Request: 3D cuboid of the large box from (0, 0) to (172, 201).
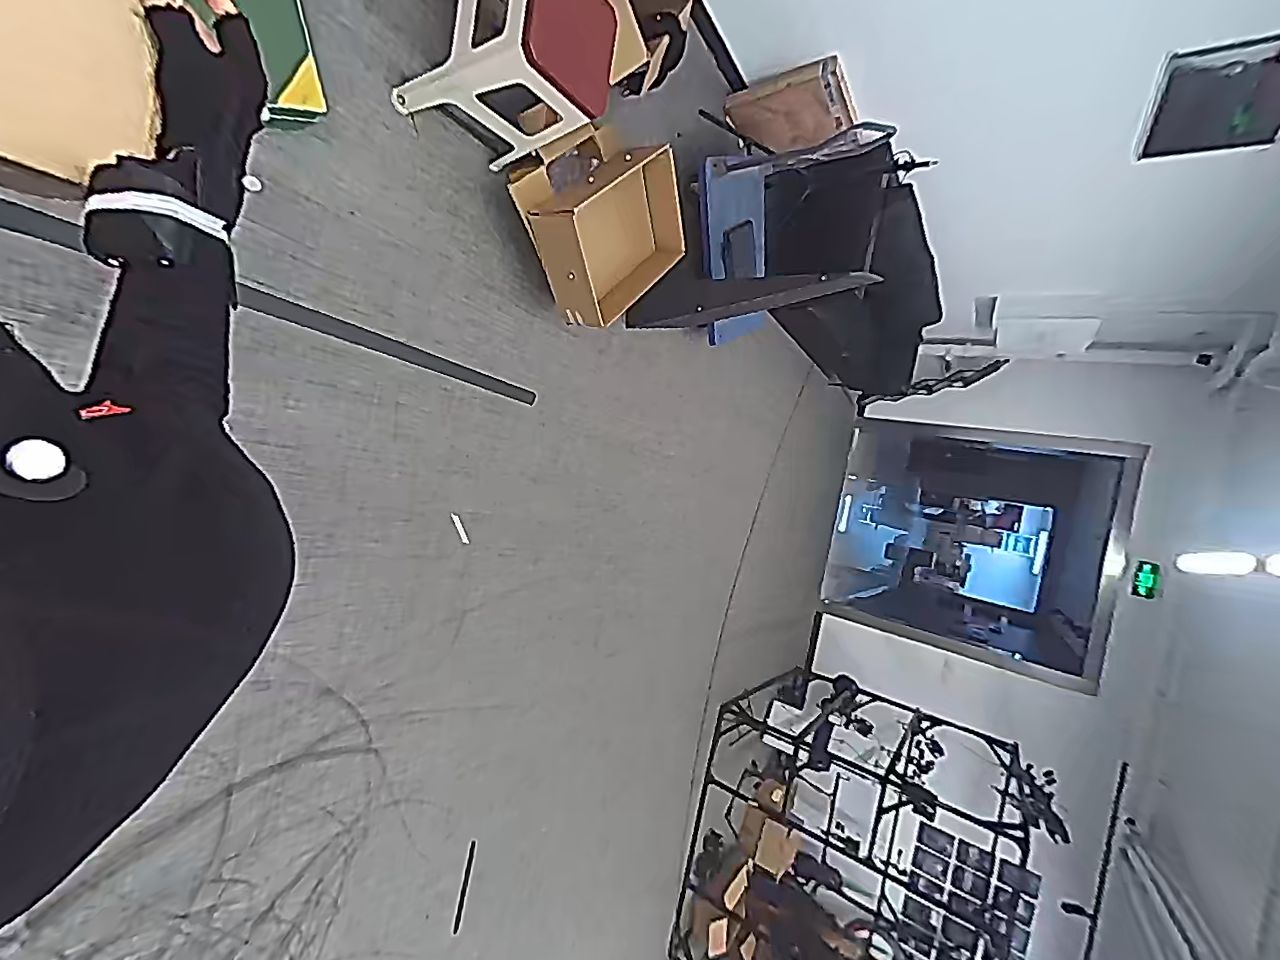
[{"bbox_3d":[-0.576,-0.406,0.308,0.408,0.320,0.320,3,105,-60],"label":"large box"}]
